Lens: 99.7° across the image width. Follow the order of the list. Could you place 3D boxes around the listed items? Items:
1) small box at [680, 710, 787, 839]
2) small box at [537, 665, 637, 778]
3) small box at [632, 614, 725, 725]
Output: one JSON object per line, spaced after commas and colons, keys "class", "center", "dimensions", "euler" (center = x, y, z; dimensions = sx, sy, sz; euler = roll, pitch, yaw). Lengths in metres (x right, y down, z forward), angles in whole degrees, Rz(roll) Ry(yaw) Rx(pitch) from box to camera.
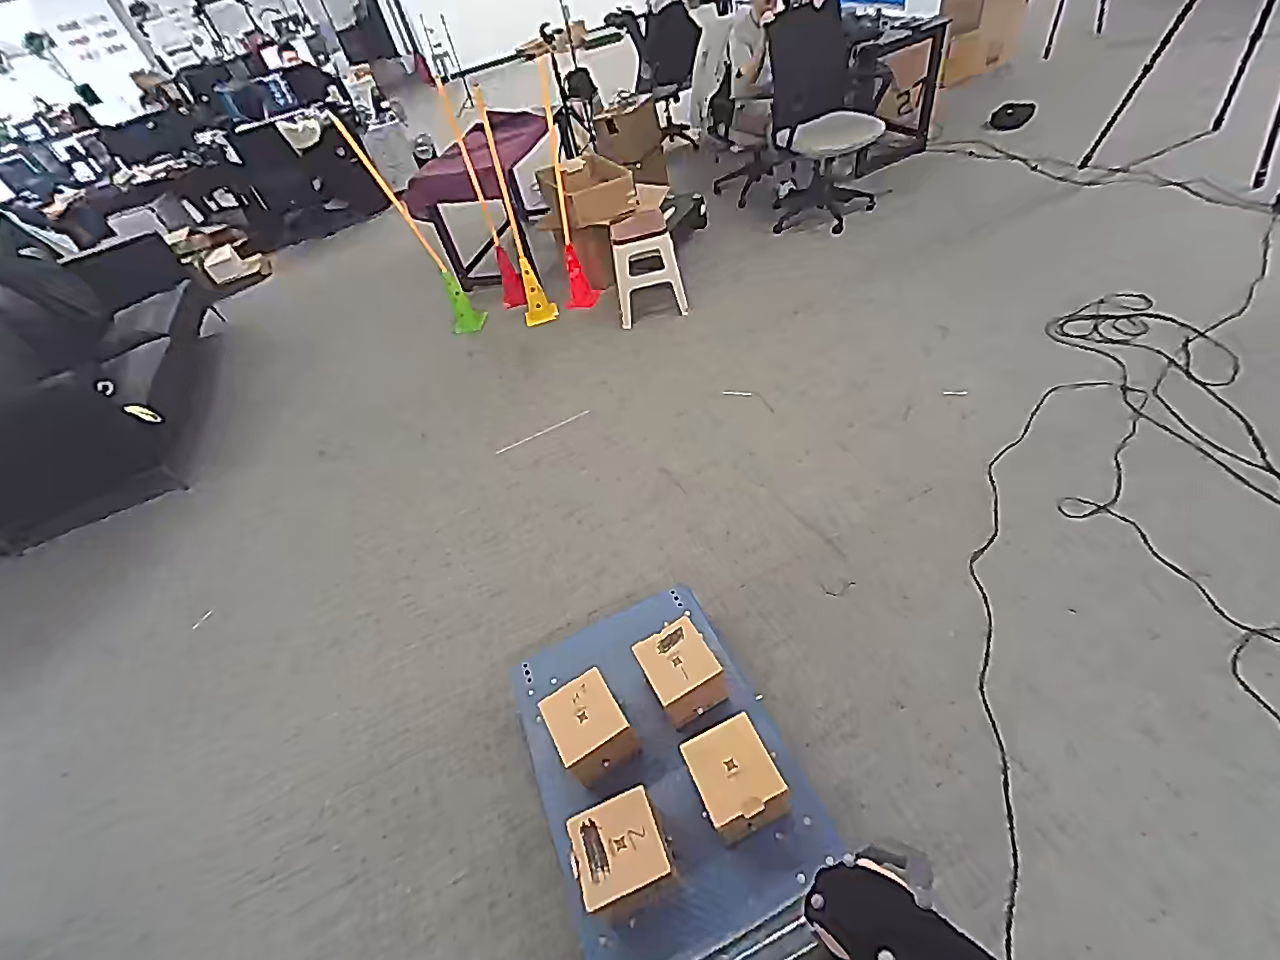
{"class": "small box", "center": [0.204, 0.650, 1.190], "dimensions": [0.168, 0.176, 0.179], "euler": [-24, 47, -8]}
{"class": "small box", "center": [-0.124, 0.598, 1.323], "dimensions": [0.168, 0.176, 0.179], "euler": [-28, 47, -14]}
{"class": "small box", "center": [0.099, 0.483, 1.373], "dimensions": [0.168, 0.176, 0.179], "euler": [-28, 48, -11]}
